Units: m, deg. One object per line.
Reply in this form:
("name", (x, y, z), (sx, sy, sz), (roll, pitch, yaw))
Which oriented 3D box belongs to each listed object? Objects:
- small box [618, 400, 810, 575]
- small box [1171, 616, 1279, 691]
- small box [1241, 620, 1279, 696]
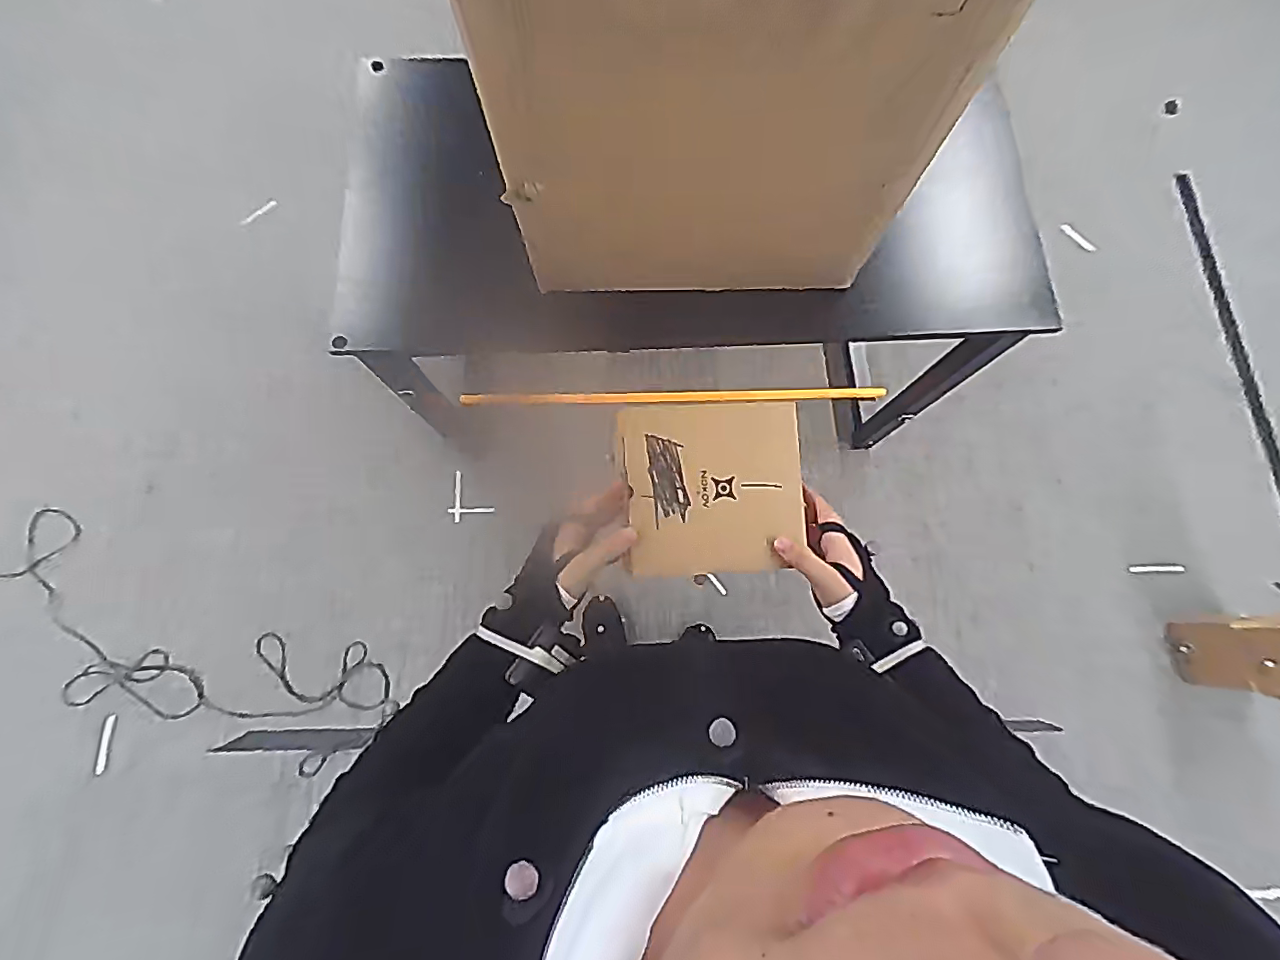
("small box", (0.066, 0.013, 0.597), (0.179, 0.176, 0.168), (-3, 85, -6))
("small box", (1.552, 0.441, 1.395), (0.179, 0.176, 0.168), (-5, 75, 0))
("small box", (1.566, 0.404, 1.234), (0.179, 0.176, 0.168), (-9, 75, -3))
